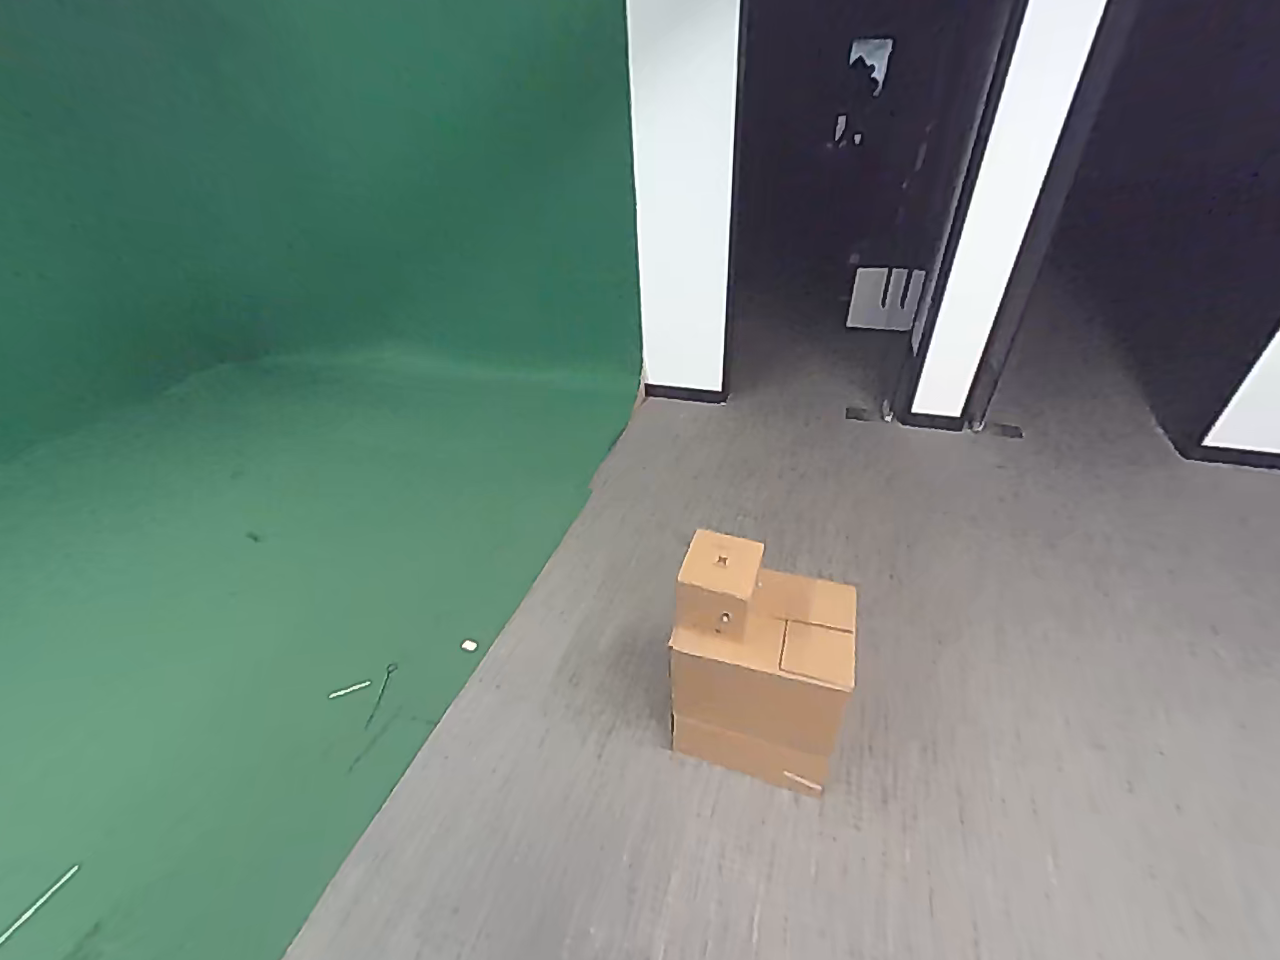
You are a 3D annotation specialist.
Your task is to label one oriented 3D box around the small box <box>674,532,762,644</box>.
[{"bbox_3d":[0.185,0.256,1.276,0.168,0.176,0.179,12,40,16],"label":"small box"}]
